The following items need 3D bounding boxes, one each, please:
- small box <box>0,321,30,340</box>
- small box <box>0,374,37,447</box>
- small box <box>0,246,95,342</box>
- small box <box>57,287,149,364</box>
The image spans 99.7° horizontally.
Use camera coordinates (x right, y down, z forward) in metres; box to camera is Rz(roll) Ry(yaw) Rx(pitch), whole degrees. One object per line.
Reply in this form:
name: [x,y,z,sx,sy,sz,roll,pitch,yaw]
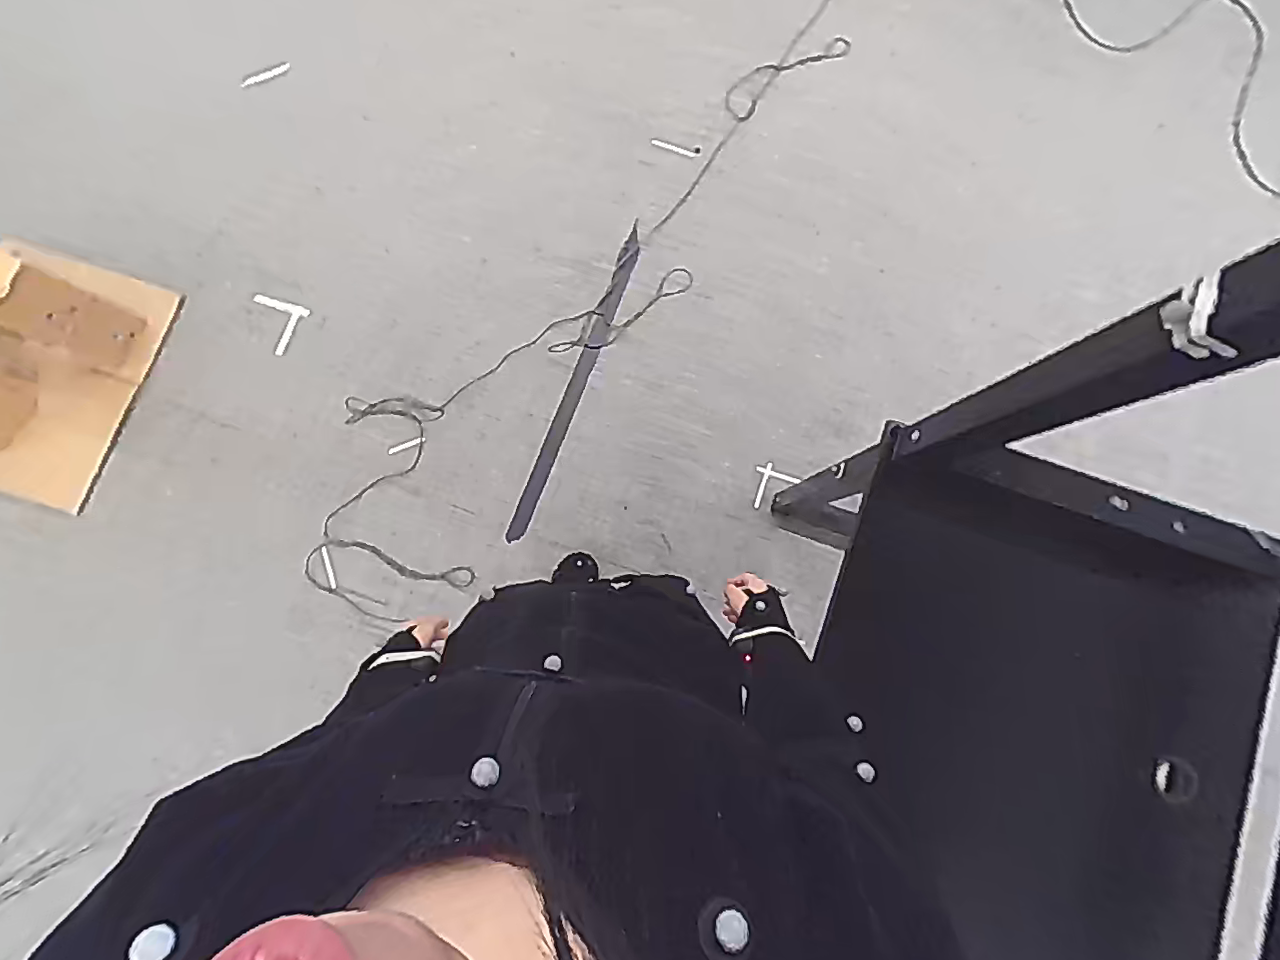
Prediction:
small box: [-1.846,-0.520,1.517,0.168,0.176,0.179,14,81,3]
small box: [-1.827,-0.209,1.467,0.168,0.176,0.179,28,84,3]
small box: [-1.545,-0.467,1.344,0.179,0.176,0.168,23,82,2]
small box: [-1.547,-0.443,1.505,0.179,0.176,0.168,19,83,2]
